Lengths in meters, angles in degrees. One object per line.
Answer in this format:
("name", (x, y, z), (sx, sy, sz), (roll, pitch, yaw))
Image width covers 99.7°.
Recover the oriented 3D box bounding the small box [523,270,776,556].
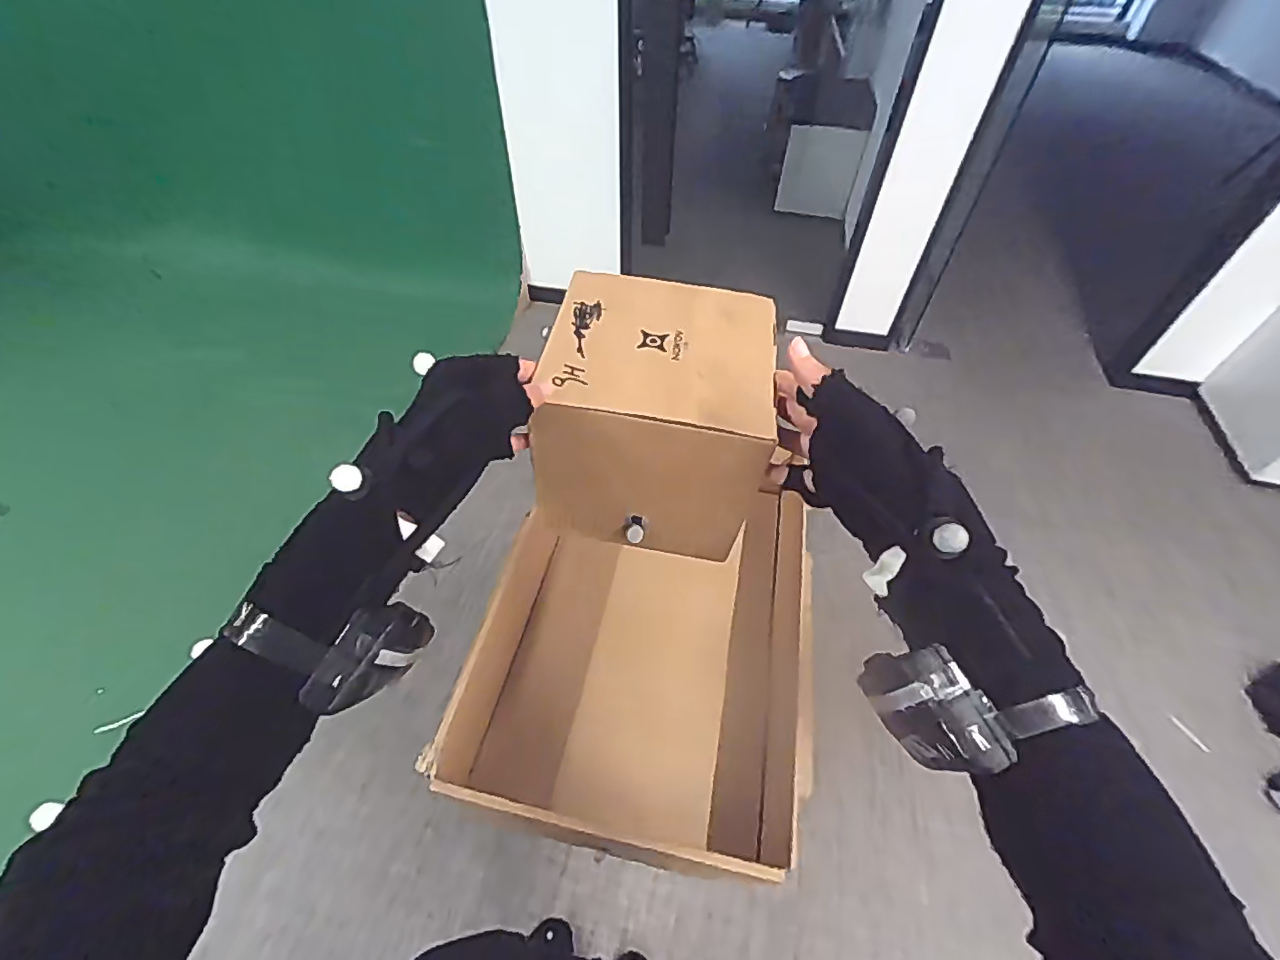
("small box", (0.009, -0.052, 0.476), (0.179, 0.176, 0.168), (11, 51, 1))
